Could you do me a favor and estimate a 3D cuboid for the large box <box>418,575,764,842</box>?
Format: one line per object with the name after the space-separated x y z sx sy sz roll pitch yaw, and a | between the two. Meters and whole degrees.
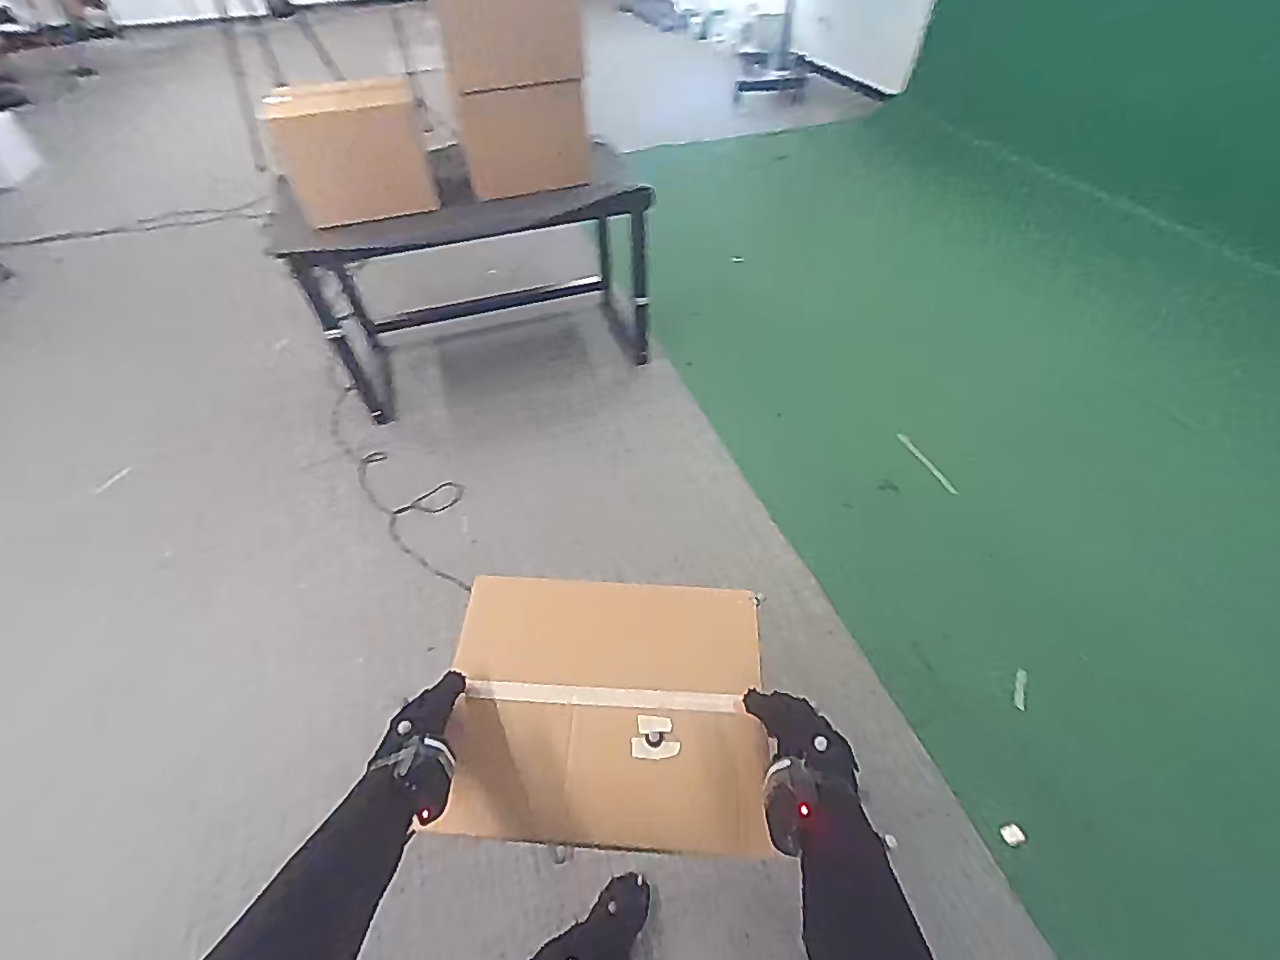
-0.058 0.355 0.817 0.408 0.320 0.320 3 56 0 | large box
